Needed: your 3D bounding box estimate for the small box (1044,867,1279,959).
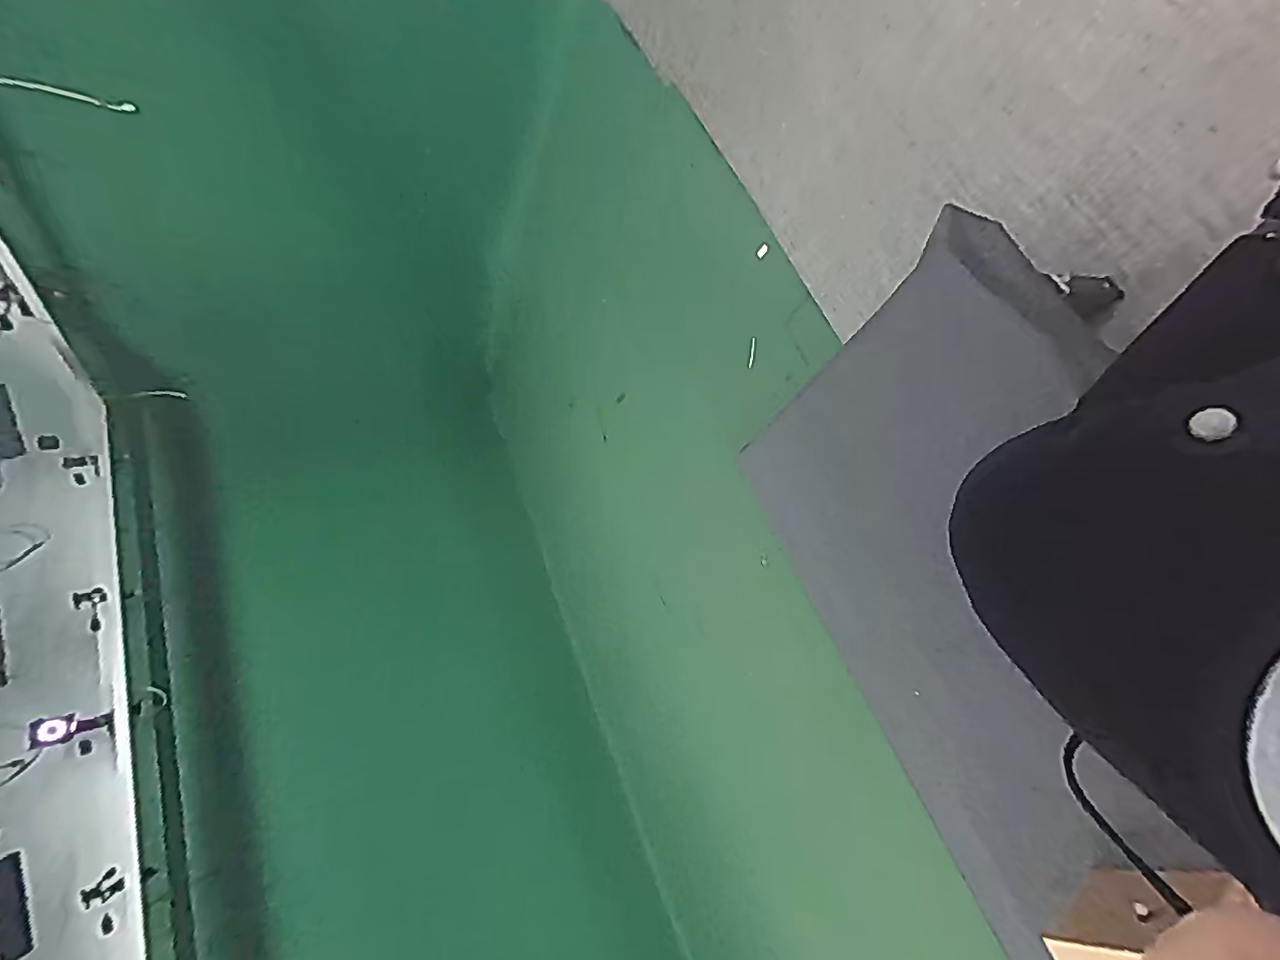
[{"bbox_3d":[0.658,0.604,0.658,0.168,0.176,0.179,64,145,22],"label":"small box"}]
